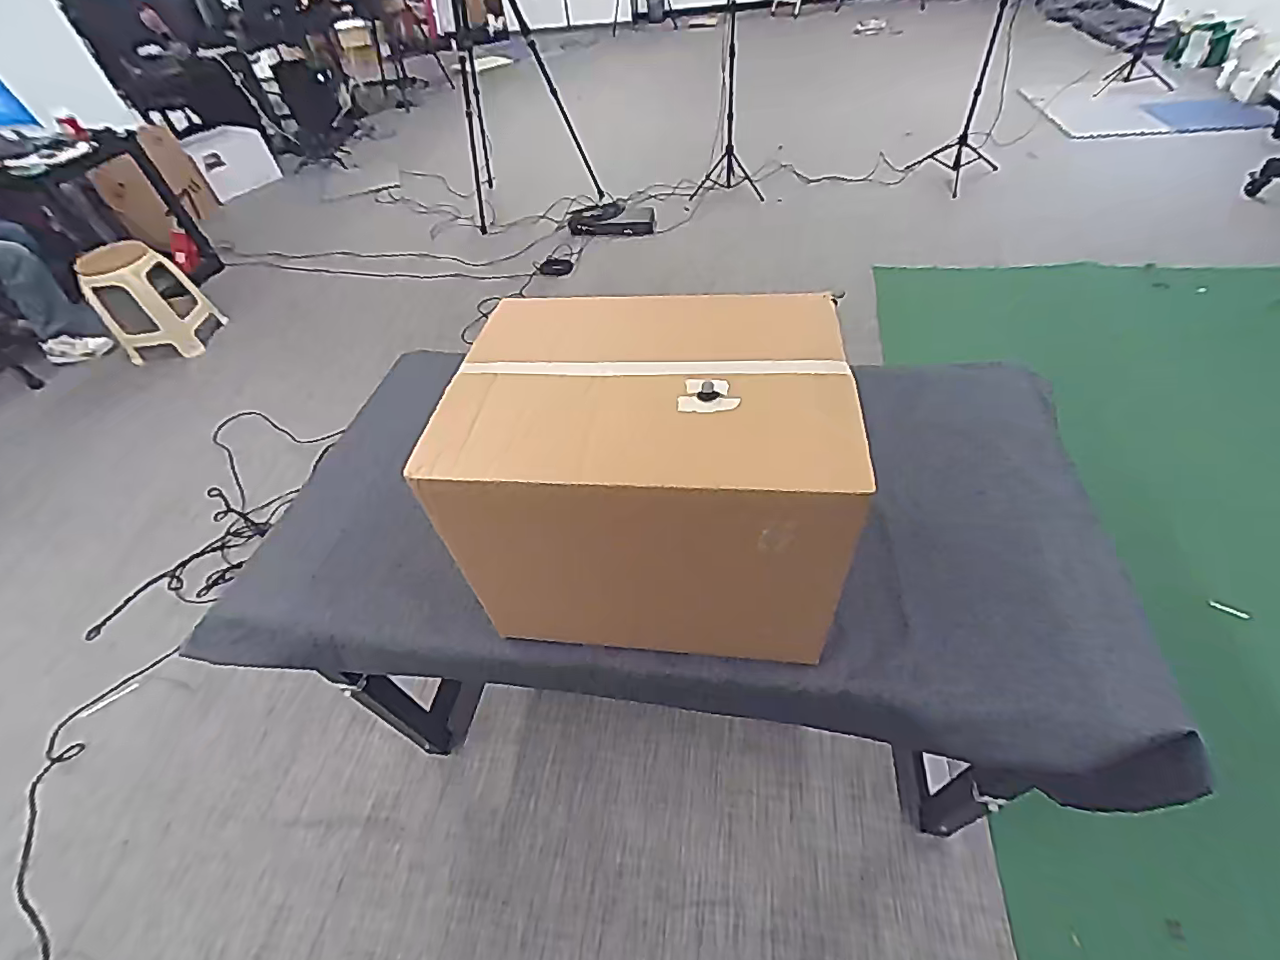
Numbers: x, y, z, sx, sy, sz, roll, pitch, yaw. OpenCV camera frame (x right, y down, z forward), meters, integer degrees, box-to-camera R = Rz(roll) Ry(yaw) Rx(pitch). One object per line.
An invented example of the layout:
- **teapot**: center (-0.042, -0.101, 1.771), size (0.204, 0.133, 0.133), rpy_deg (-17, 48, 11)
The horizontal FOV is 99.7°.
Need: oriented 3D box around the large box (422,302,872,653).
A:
- **large box**: center (0.021, -0.004, 0.674), size (0.408, 0.320, 0.320), rpy_deg (2, 47, 8)
